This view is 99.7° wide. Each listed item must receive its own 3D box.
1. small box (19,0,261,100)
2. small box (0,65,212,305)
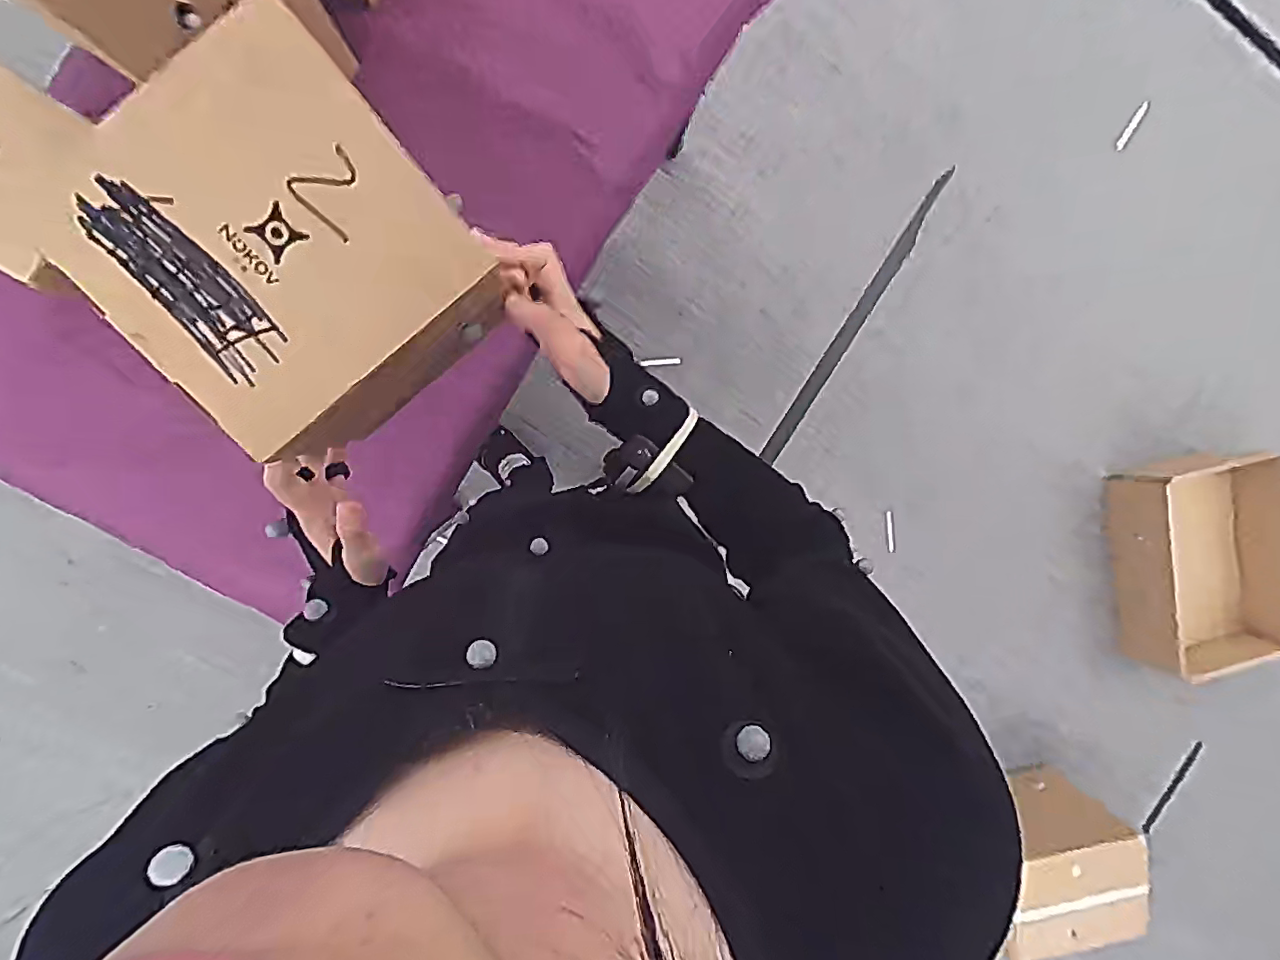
[{"bbox_3d":[-0.446,-0.453,0.418,0.179,0.176,0.168,34,91,-11],"label":"small box"},{"bbox_3d":[-0.621,-0.308,0.576,0.179,0.176,0.168,33,92,-11],"label":"small box"}]
